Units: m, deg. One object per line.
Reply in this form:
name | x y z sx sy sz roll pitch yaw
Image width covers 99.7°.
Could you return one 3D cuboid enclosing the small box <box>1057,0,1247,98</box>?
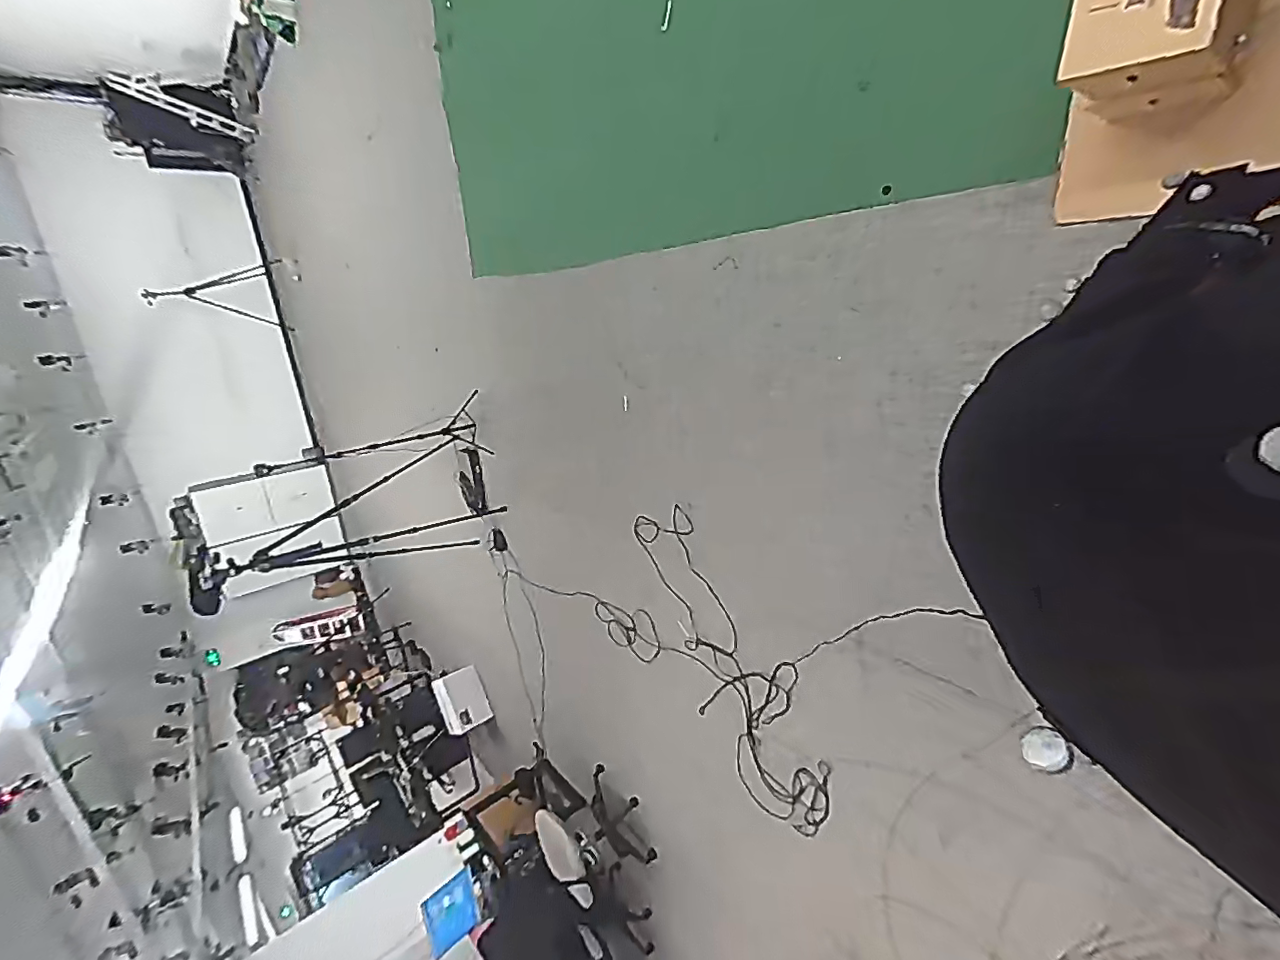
small box | 0.771 -0.694 0.804 0.179 0.176 0.168 24 123 48
